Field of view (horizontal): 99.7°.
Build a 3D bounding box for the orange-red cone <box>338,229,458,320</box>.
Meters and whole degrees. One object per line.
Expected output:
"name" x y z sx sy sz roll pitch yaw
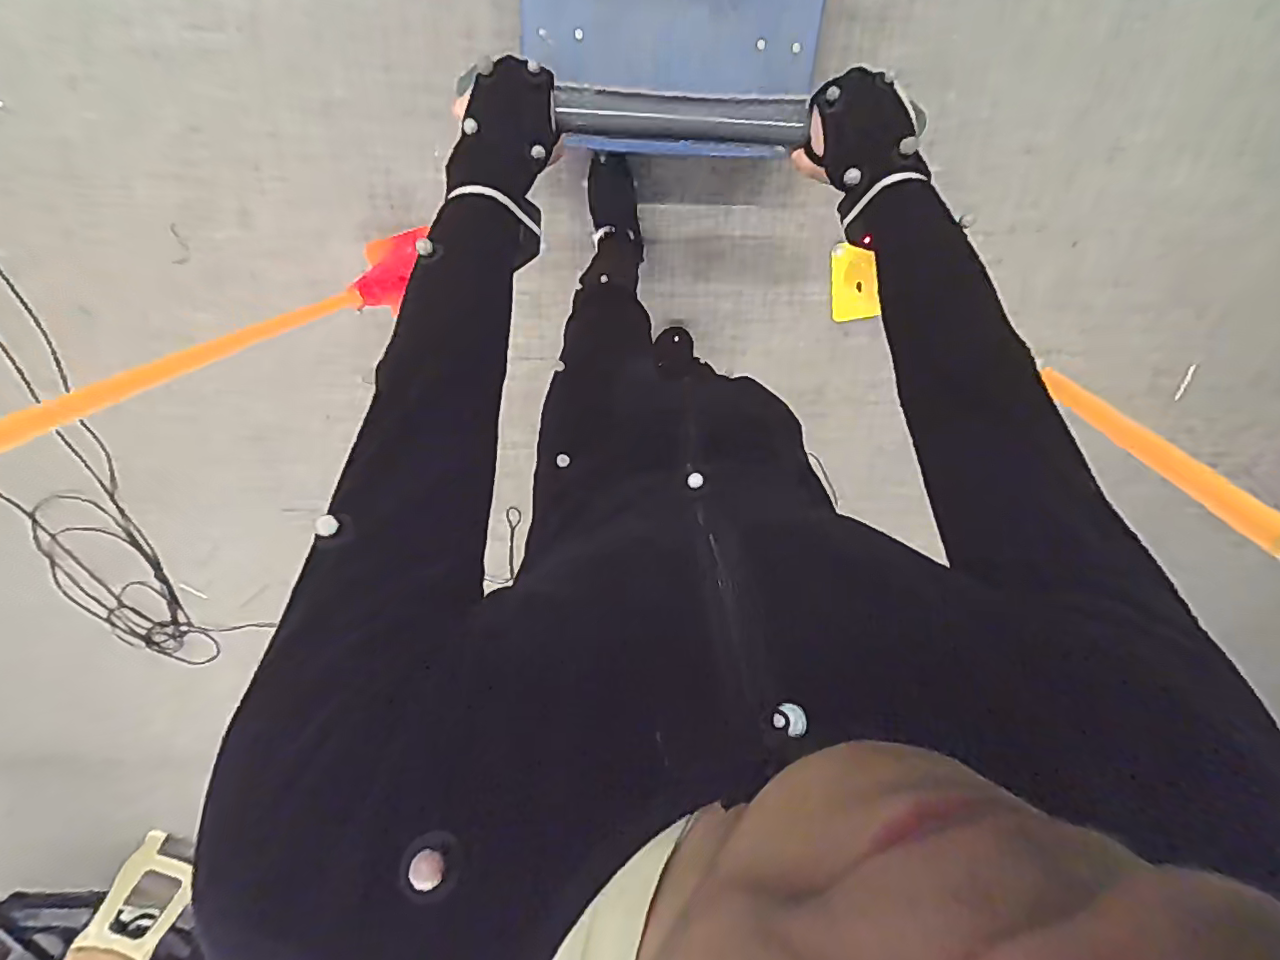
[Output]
"orange-red cone" -0.592 -0.448 1.248 0.199 0.360 0.198 -12 117 8
